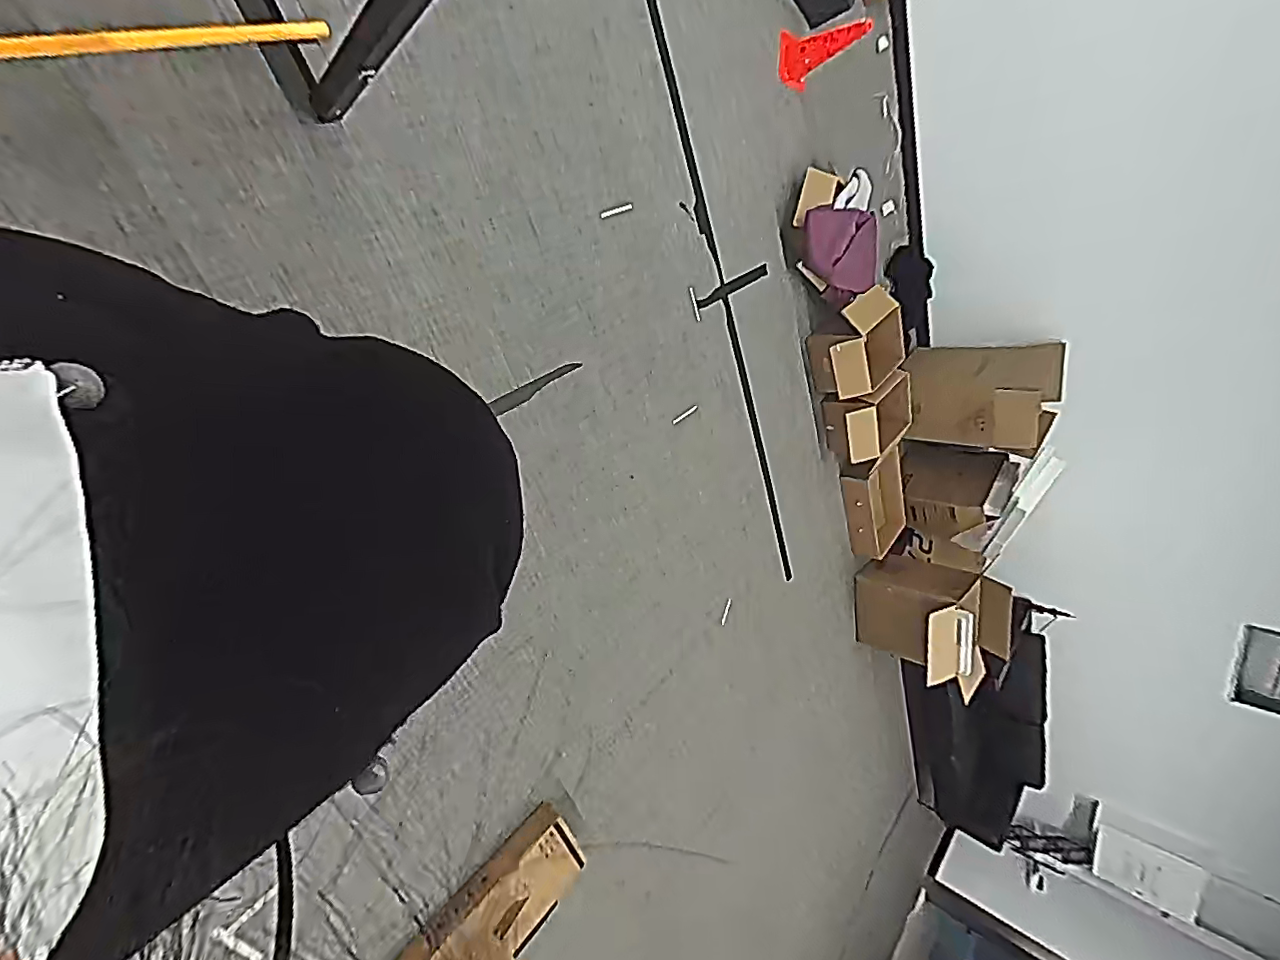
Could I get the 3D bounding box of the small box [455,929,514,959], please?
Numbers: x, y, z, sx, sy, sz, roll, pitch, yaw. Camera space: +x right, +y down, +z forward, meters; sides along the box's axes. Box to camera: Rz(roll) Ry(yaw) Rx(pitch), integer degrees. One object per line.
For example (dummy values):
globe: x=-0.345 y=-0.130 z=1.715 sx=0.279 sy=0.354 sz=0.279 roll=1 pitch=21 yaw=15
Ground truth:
small box: x=-0.481 y=1.566 z=1.692 sx=0.168 sy=0.176 sz=0.179 roll=-40 pitch=123 yaw=-31
